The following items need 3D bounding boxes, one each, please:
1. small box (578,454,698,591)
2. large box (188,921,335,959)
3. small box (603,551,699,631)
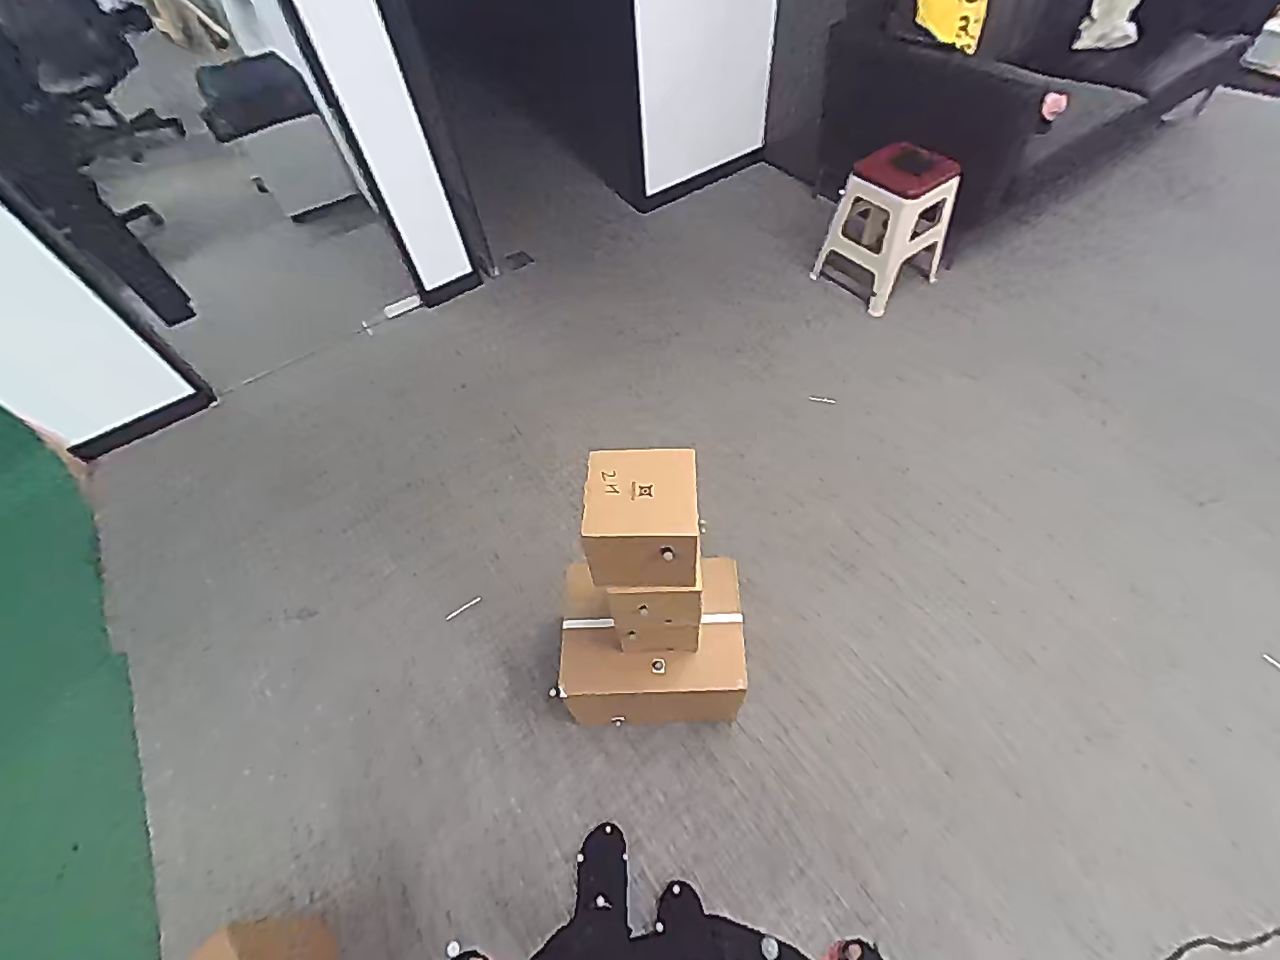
[{"bbox_3d":[0.004,0.073,0.892,0.179,0.176,0.168,-1,52,4],"label":"small box"},{"bbox_3d":[-0.745,1.082,0.924,0.320,0.320,0.408,34,64,27],"label":"large box"},{"bbox_3d":[0.026,0.176,1.019,0.168,0.176,0.179,-2,52,3],"label":"small box"}]
